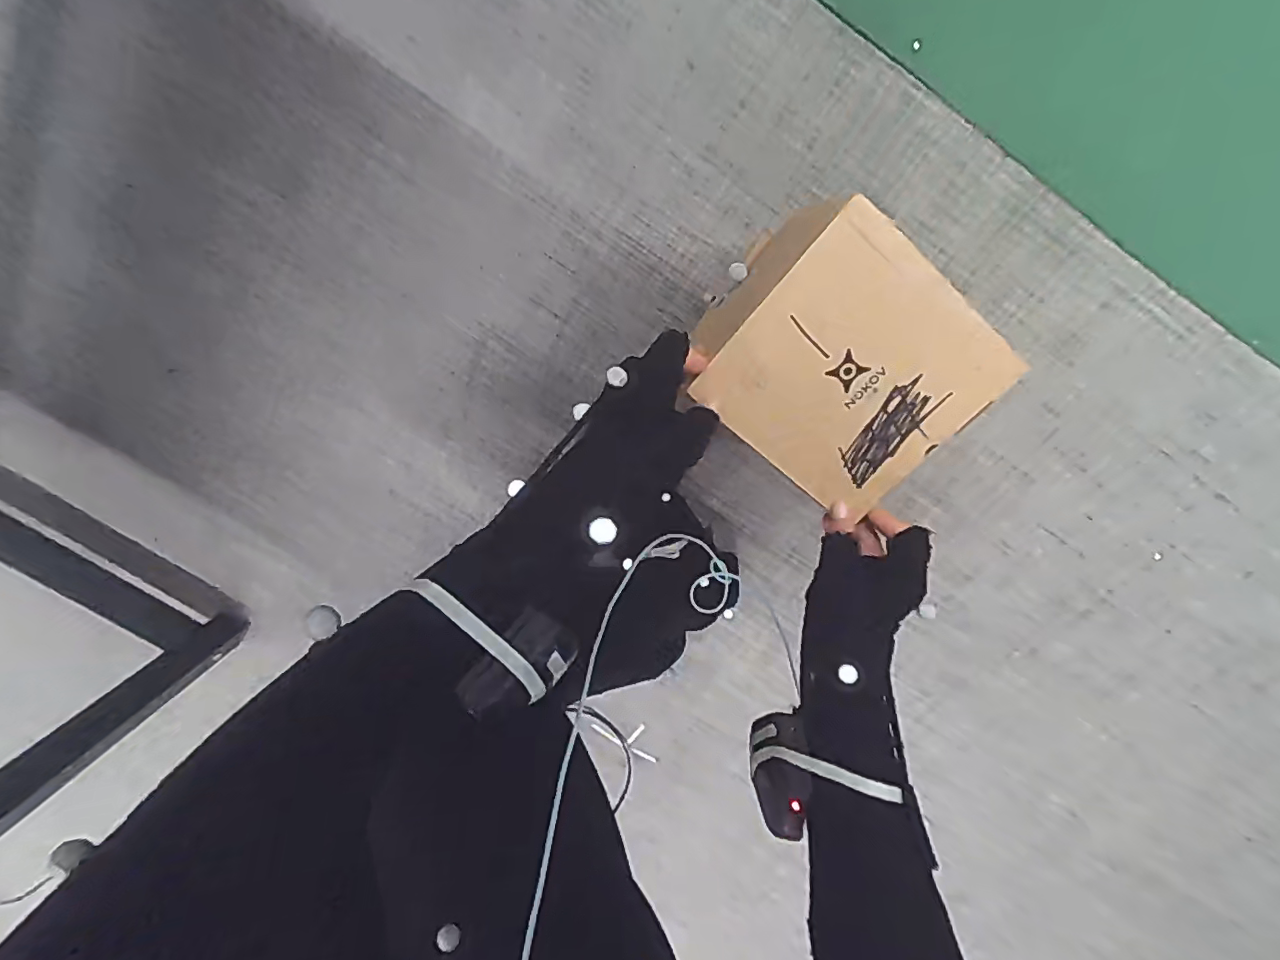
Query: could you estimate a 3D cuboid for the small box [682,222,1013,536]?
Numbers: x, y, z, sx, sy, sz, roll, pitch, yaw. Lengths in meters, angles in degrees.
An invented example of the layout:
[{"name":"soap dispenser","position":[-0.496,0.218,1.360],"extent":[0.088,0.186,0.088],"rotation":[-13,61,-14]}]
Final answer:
[{"name":"small box","position":[0.152,-0.092,0.461],"extent":[0.179,0.176,0.168],"rotation":[39,109,-13]}]
